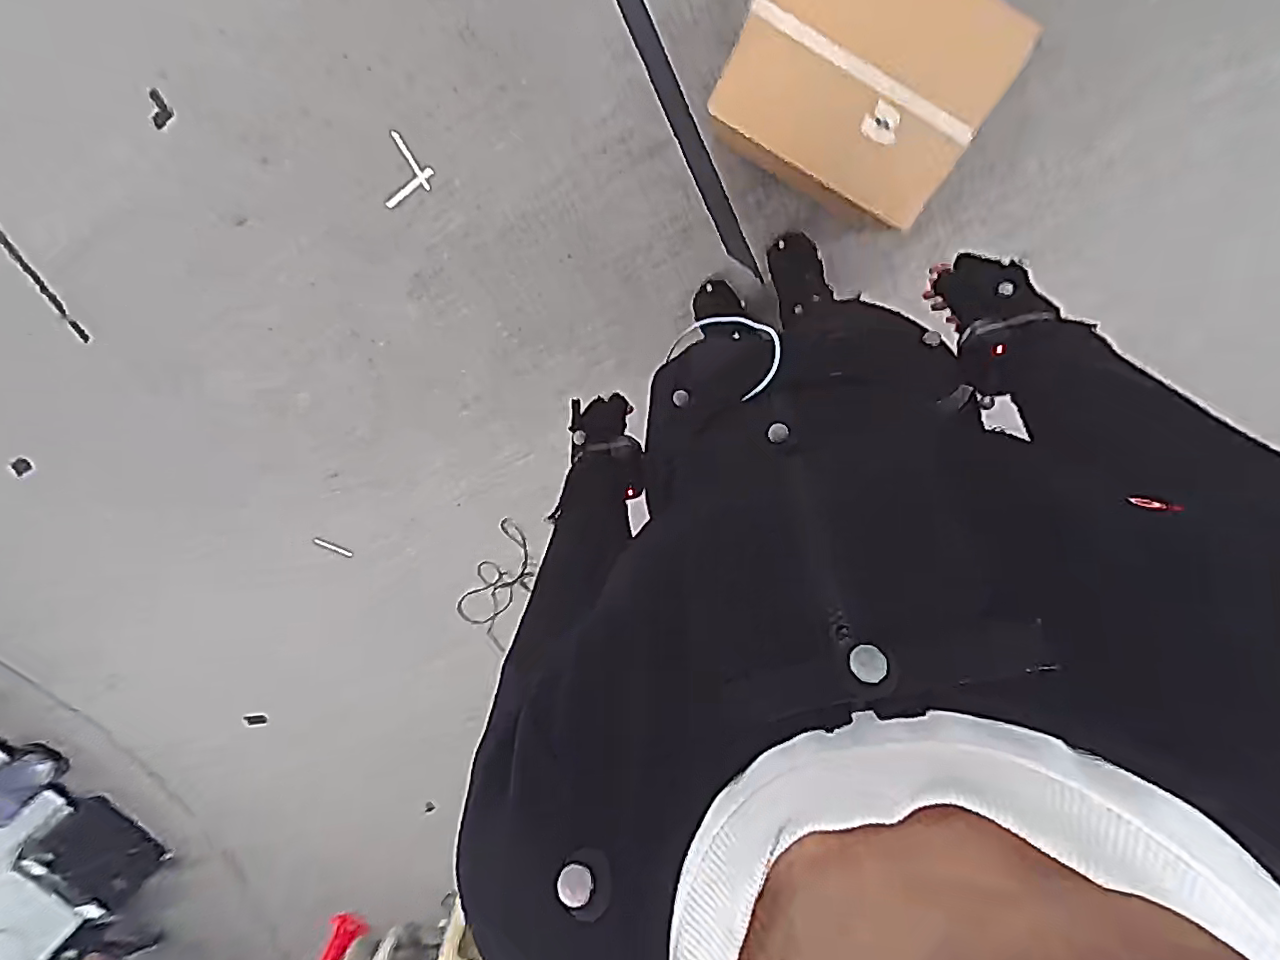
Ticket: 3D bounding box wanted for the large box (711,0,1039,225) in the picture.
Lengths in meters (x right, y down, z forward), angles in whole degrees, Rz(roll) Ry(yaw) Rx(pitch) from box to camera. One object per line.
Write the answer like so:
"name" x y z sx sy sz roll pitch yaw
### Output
"large box" 0.378 -0.716 0.994 0.408 0.320 0.320 29 117 -5
